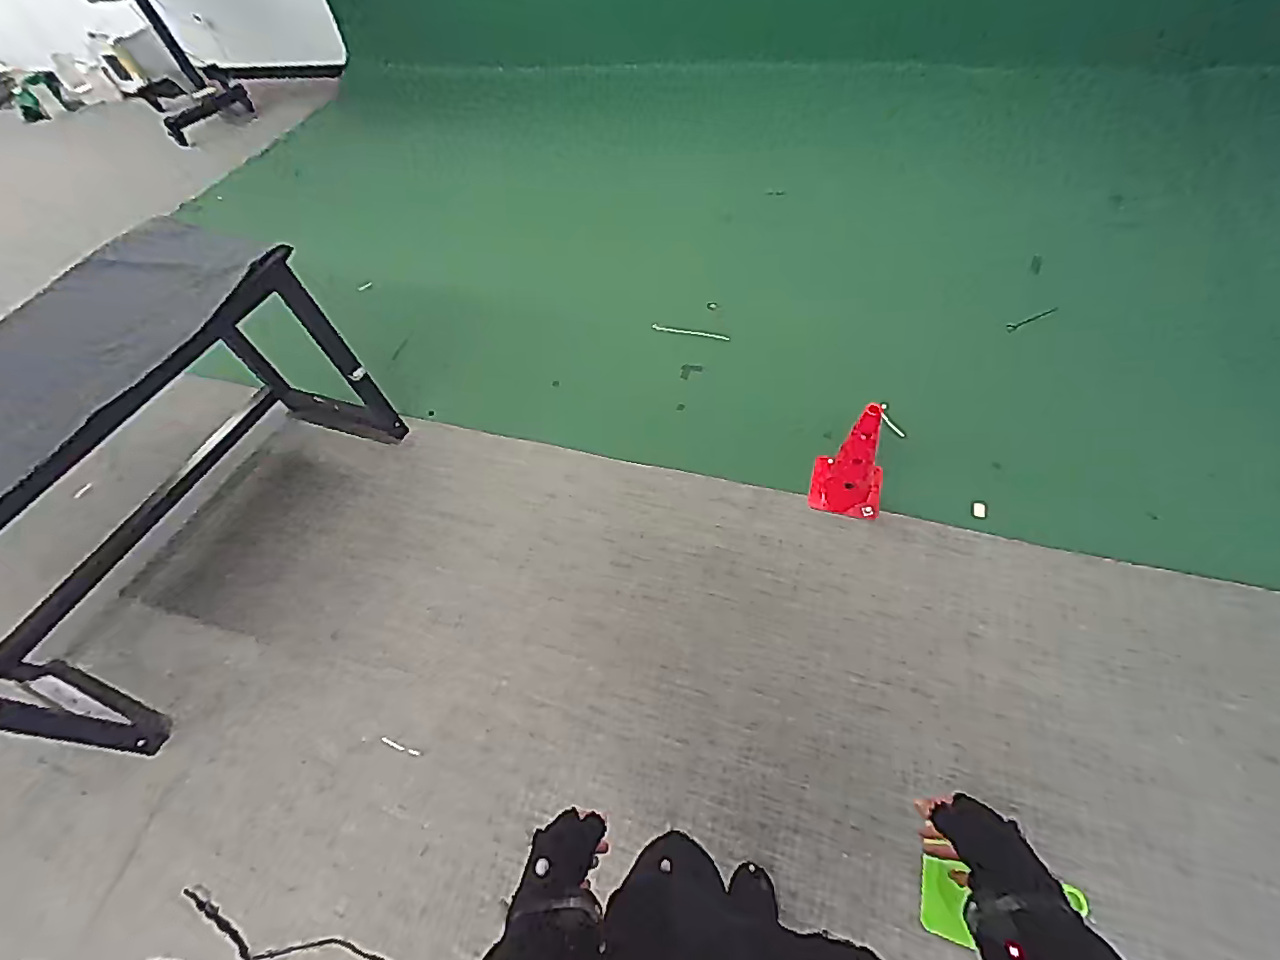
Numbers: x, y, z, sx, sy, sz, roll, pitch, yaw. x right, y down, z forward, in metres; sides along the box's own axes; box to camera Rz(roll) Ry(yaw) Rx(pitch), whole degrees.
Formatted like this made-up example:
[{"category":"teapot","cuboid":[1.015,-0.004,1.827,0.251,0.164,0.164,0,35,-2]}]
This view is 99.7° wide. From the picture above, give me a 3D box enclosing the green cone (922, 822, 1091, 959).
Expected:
[{"category":"green cone","cuboid":[0.651,0.726,0.936,0.200,0.368,0.202,11,58,15]}]
